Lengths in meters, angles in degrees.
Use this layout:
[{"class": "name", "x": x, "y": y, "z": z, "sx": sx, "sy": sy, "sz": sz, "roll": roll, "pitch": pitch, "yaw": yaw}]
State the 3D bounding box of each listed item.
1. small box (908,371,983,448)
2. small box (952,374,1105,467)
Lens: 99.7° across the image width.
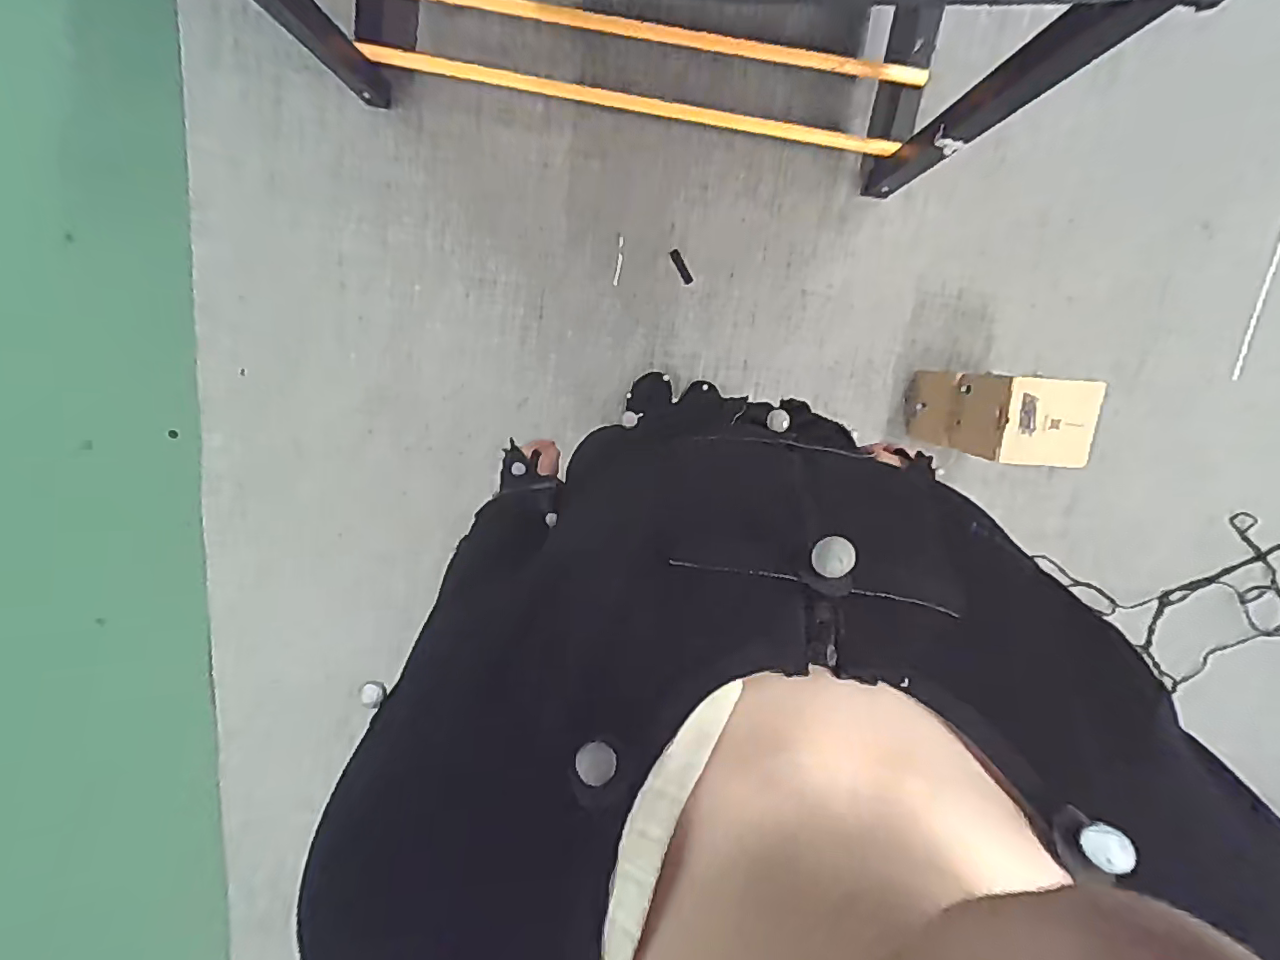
[{"class": "small box", "x": 0.756, "y": -0.164, "z": 1.251, "sx": 0.179, "sy": 0.176, "sz": 0.168, "roll": 3, "pitch": 102, "yaw": 0}, {"class": "small box", "x": 0.768, "y": -0.126, "z": 1.091, "sx": 0.179, "sy": 0.176, "sz": 0.168, "roll": 3, "pitch": 103, "yaw": -2}]
